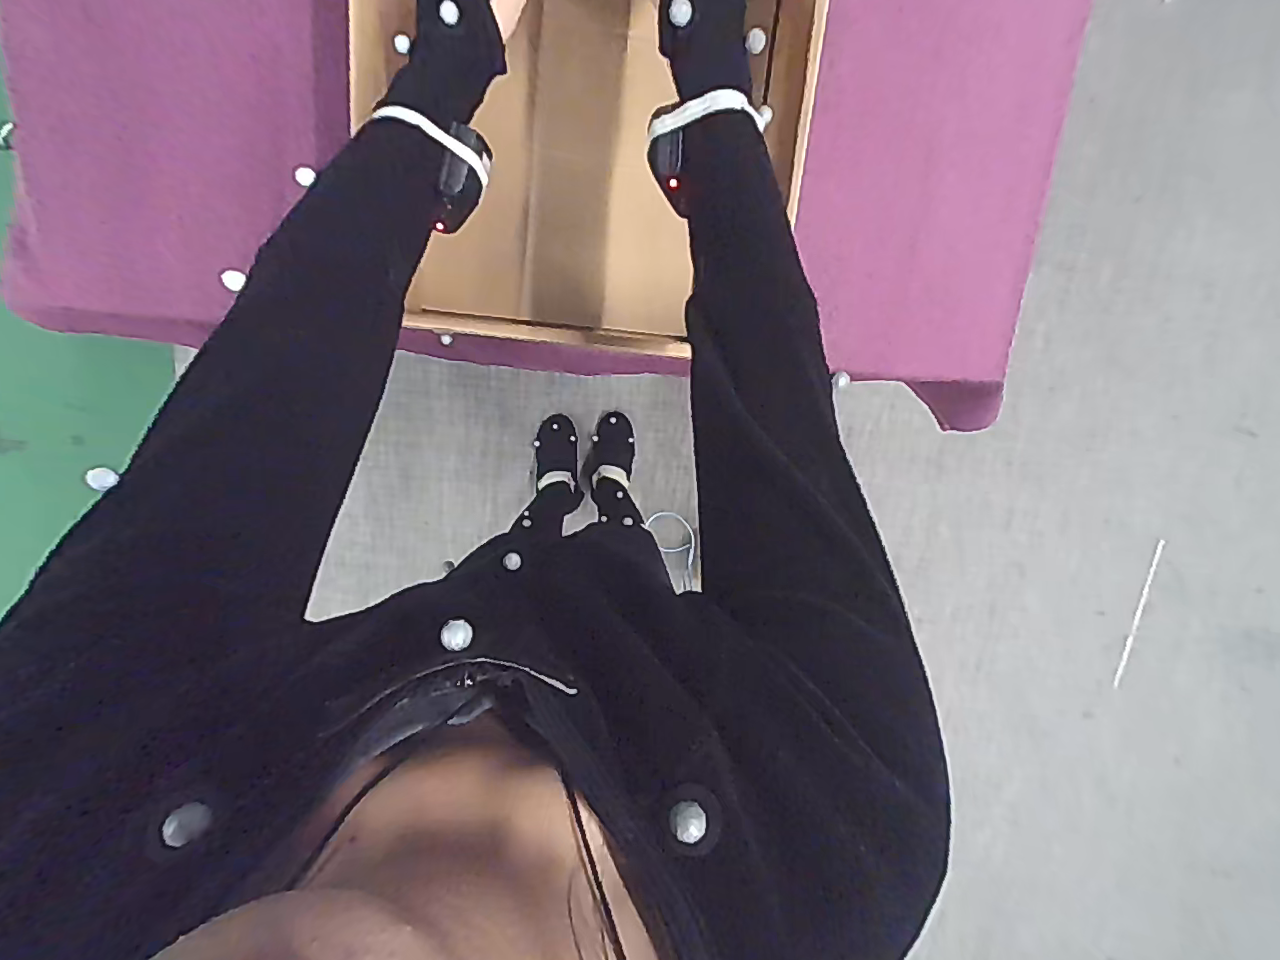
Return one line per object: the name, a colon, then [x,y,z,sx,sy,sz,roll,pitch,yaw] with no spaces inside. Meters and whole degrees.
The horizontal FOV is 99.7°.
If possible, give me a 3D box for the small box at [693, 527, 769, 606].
small box: [0.239,0.231,1.471,0.179,0.176,0.168,-1,102,-3]
